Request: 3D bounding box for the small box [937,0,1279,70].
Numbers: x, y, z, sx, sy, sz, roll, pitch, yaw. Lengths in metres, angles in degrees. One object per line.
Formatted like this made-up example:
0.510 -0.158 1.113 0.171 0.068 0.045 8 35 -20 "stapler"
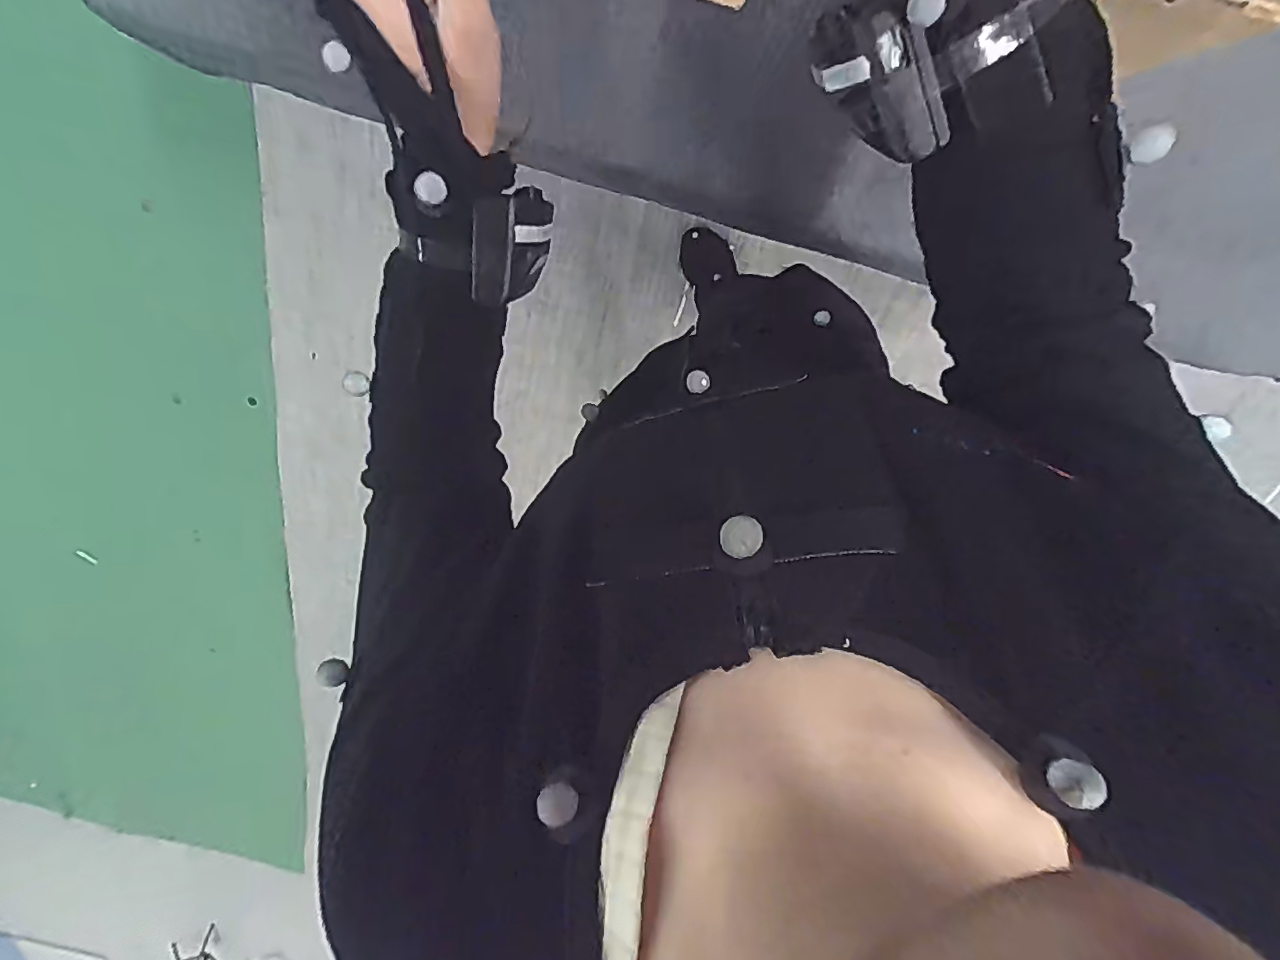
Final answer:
0.310 -0.387 0.327 0.168 0.176 0.179 16 117 -3 "small box"
